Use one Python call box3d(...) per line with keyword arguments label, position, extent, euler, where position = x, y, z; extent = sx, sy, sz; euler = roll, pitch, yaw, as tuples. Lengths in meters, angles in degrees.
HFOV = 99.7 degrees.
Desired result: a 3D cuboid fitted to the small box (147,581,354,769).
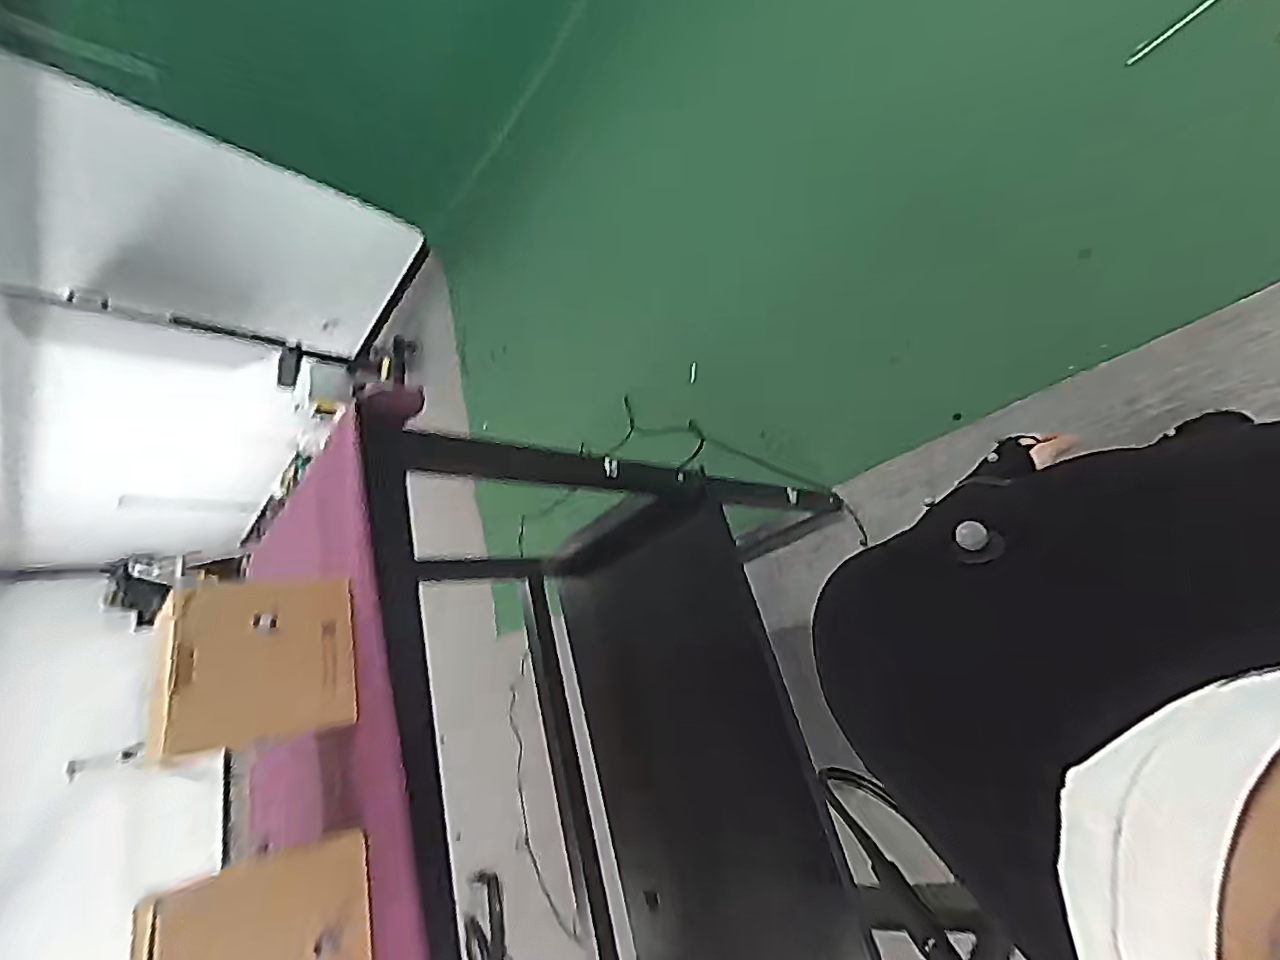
box3d(label="small box", position=(-0.444, 0.218, 0.624), extent=(0.179, 0.176, 0.168), euler=(-29, 65, 39))
